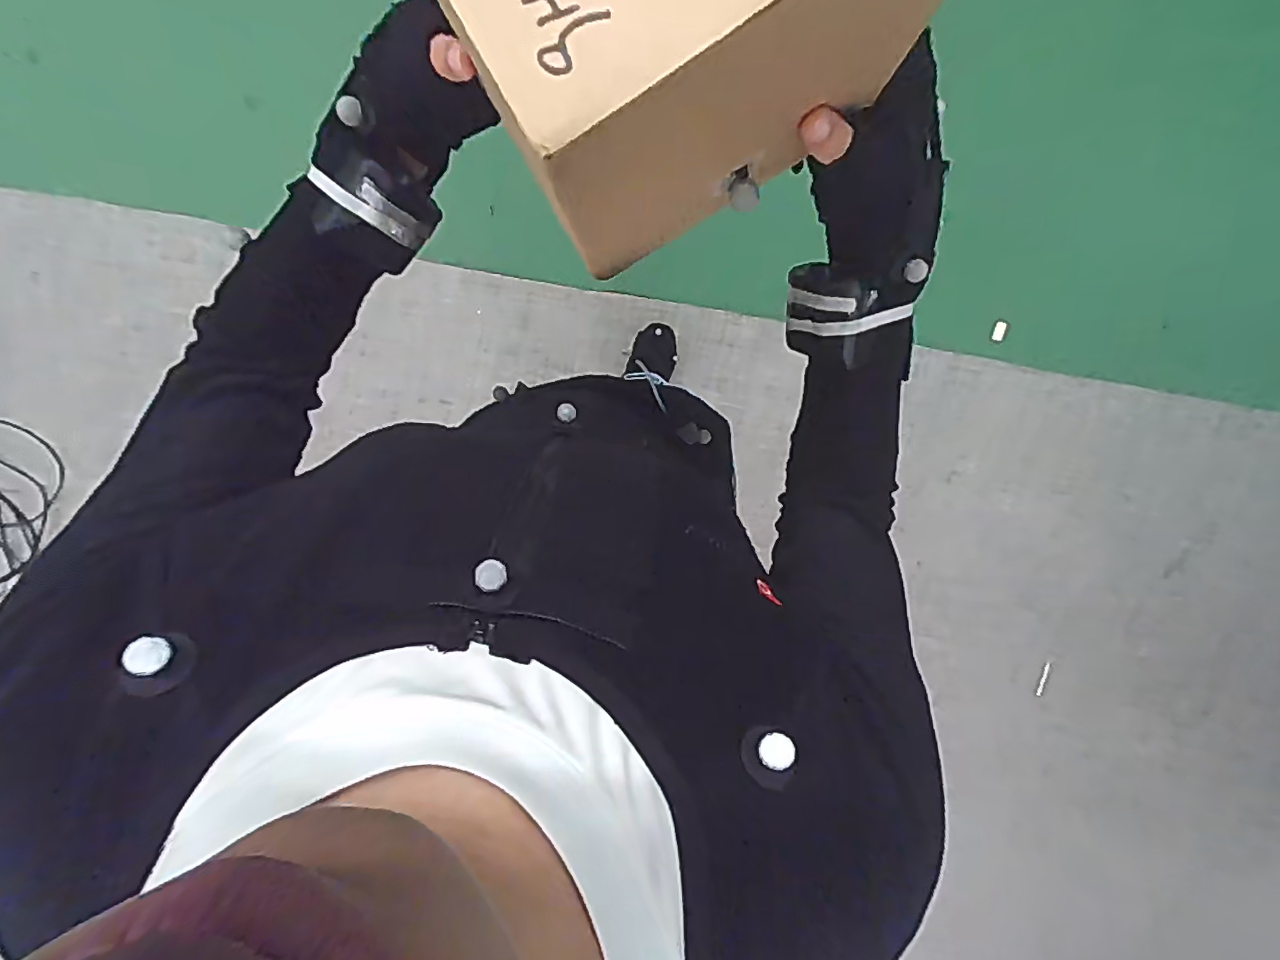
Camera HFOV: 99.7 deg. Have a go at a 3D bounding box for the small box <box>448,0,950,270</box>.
[{"bbox_3d":[0.012,-0.219,0.225,0.179,0.176,0.168,-30,95,5],"label":"small box"}]
